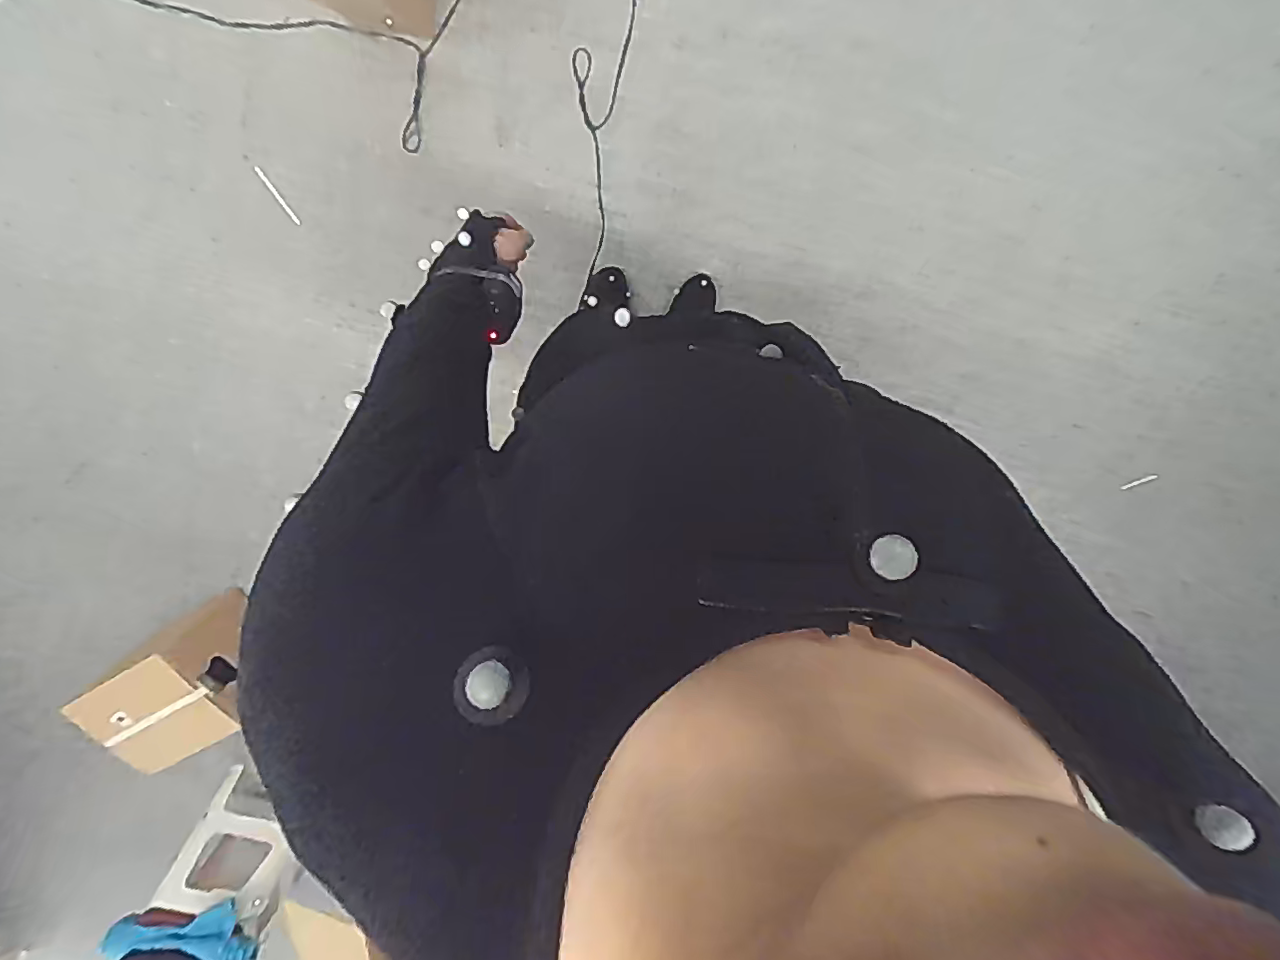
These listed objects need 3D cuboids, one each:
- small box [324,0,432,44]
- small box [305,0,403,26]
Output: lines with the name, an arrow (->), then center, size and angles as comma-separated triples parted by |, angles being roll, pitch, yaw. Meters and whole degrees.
small box -> -0.516, -0.987, 1.053 | 0.179, 0.176, 0.168 | 7, 112, -2
small box -> -0.517, -0.907, 0.909 | 0.179, 0.176, 0.168 | 10, 113, -5
